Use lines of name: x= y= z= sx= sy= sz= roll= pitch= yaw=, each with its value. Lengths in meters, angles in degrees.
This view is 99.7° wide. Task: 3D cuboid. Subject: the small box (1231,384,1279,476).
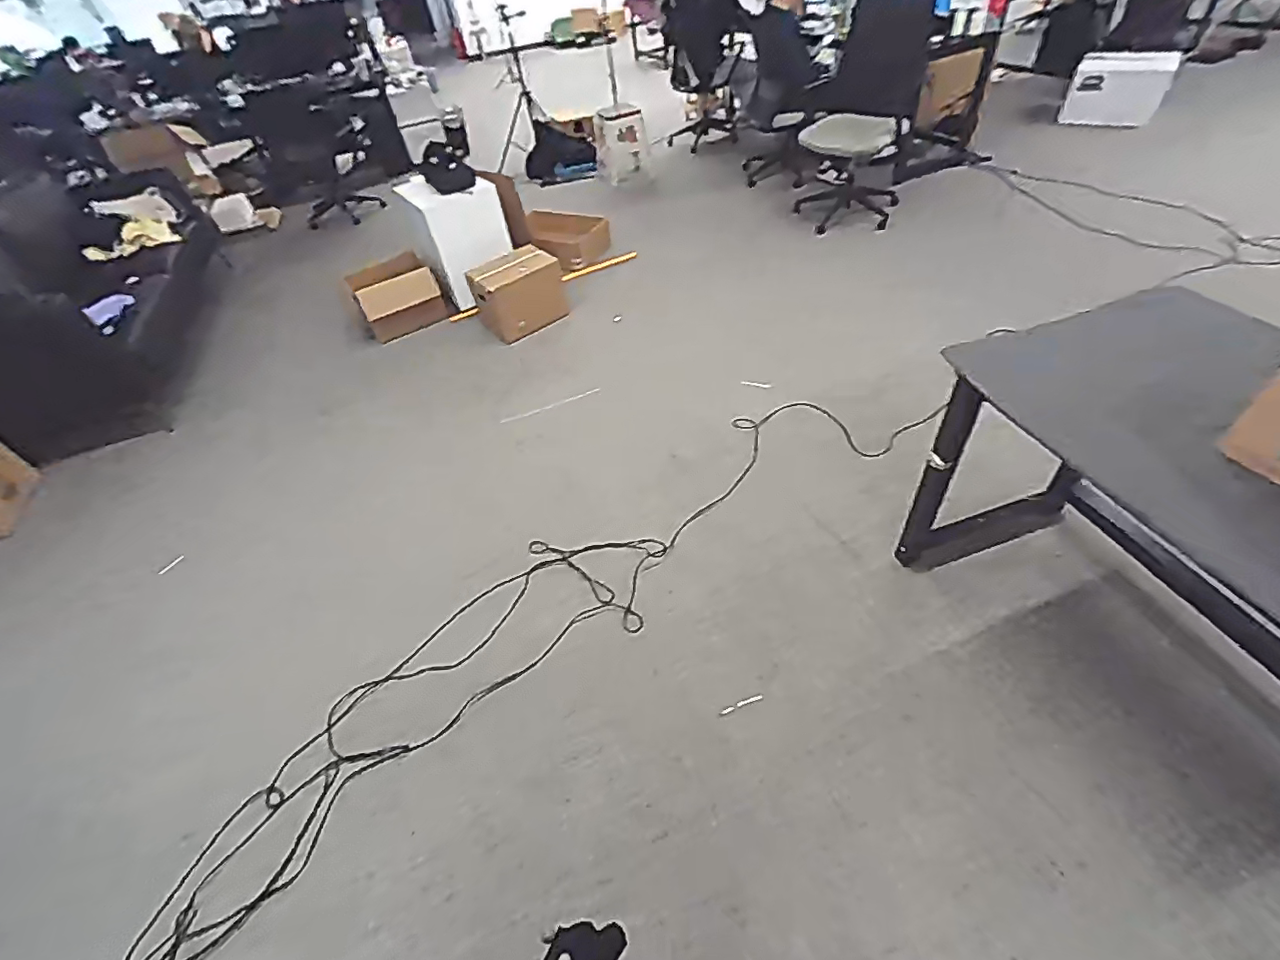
small box: x=1.077 y=-0.092 z=0.812 sx=0.179 sy=0.176 sz=0.168 roll=-20 pitch=46 yaw=-10
